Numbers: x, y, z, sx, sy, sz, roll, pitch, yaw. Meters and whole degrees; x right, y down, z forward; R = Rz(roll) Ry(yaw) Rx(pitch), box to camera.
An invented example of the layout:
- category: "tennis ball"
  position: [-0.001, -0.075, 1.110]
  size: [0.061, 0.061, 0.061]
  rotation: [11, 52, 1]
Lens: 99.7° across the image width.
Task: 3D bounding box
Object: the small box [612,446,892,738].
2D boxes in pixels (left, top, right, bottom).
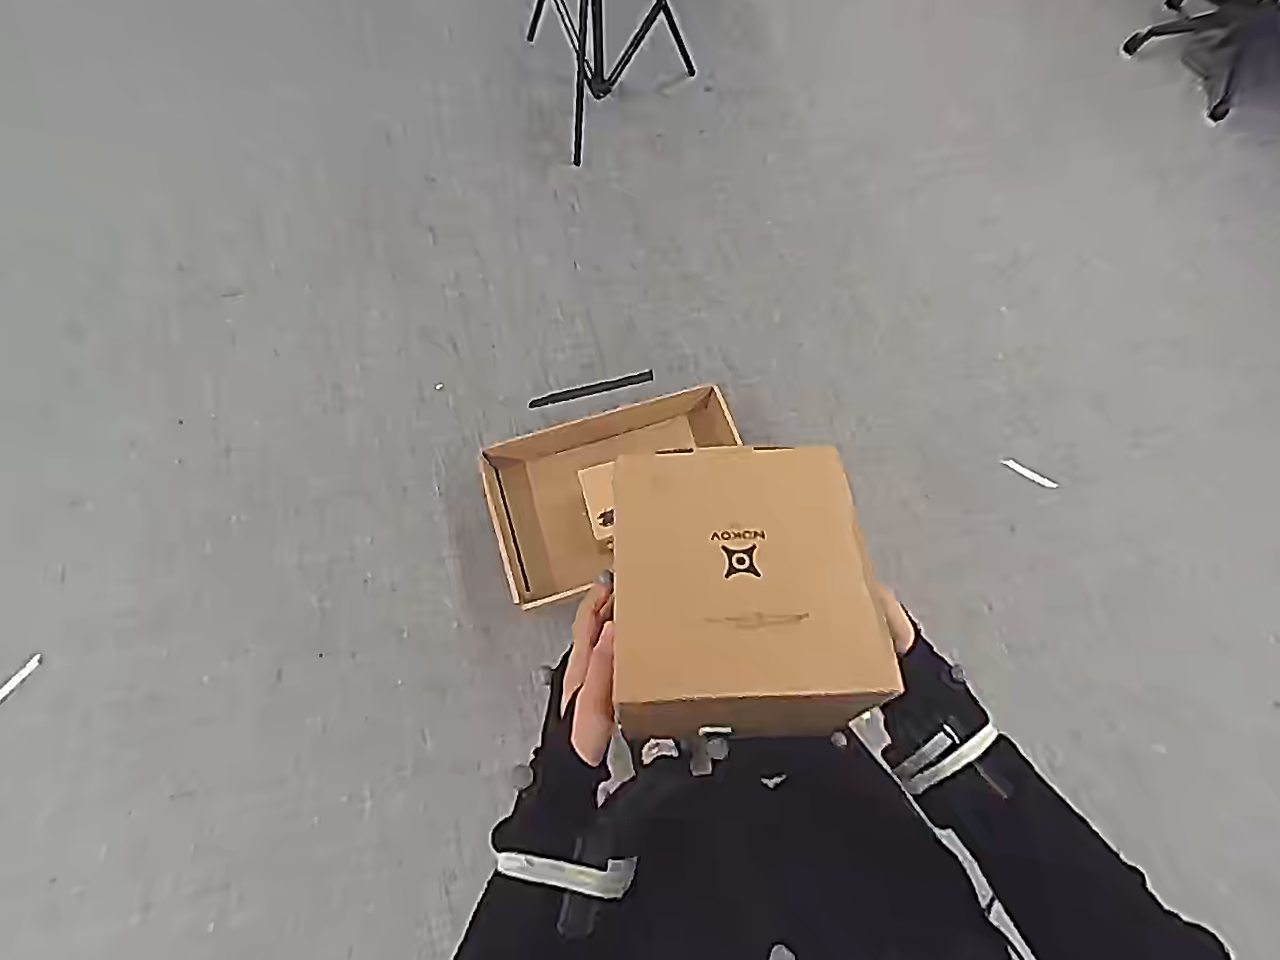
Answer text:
- category: "small box"
  position: [0.064, 0.093, 0.425]
  size: [0.168, 0.176, 0.179]
  rotation: [-3, 58, 0]
